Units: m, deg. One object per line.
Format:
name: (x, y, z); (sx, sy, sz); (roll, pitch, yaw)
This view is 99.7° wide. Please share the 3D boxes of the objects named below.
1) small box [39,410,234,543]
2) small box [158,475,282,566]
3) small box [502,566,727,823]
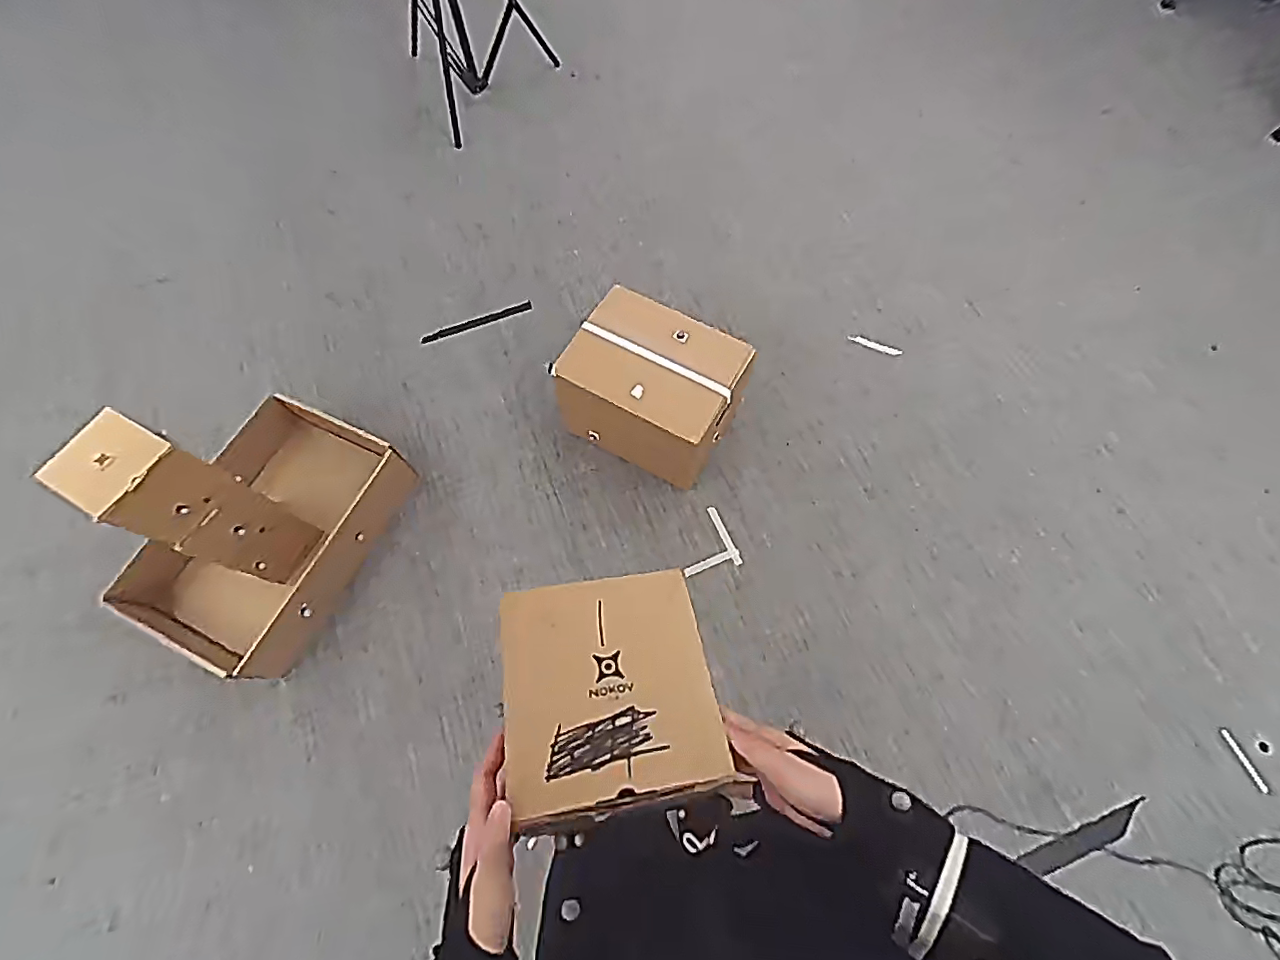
small box: (-0.953, 0.001, 1.042); (0.179, 0.176, 0.168); (26, 69, 11)
small box: (-0.947, 0.073, 1.188); (0.179, 0.176, 0.168); (27, 70, 11)
small box: (-0.033, 0.202, 0.499); (0.168, 0.176, 0.179); (-5, 53, -10)
